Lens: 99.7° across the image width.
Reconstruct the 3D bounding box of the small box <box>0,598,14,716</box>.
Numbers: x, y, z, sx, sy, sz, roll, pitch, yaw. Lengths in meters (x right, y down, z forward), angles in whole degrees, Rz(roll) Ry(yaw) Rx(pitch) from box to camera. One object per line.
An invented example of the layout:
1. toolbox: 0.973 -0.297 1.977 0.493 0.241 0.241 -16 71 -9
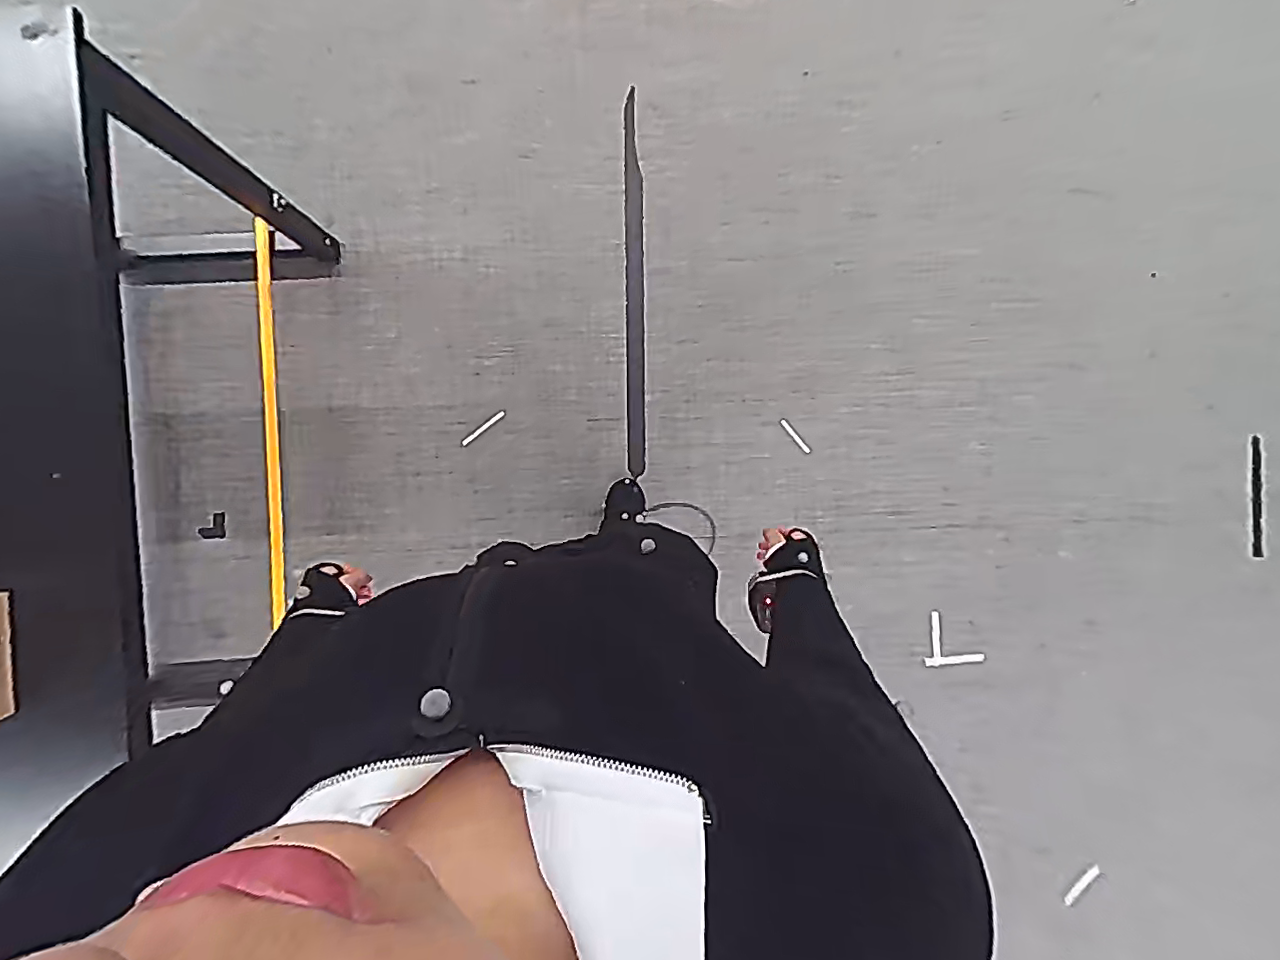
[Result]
1. small box: -0.917 0.238 0.634 0.179 0.176 0.168 -1 92 -3
